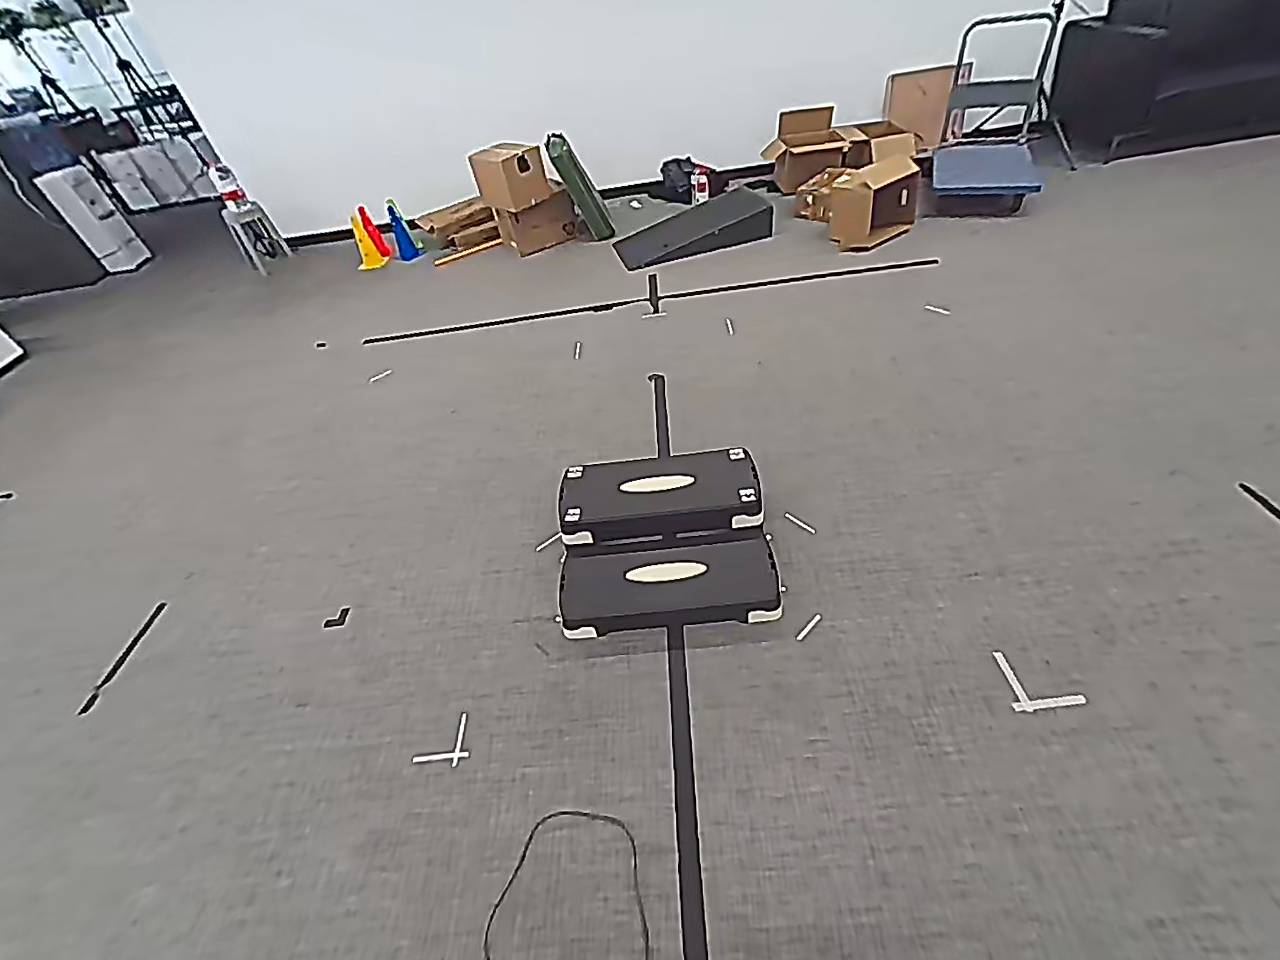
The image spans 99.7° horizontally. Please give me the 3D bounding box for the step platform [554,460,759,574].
[{"bbox_3d":[0.053,0.119,1.843,0.684,0.204,0.286,-7,44,3],"label":"step platform"}]
